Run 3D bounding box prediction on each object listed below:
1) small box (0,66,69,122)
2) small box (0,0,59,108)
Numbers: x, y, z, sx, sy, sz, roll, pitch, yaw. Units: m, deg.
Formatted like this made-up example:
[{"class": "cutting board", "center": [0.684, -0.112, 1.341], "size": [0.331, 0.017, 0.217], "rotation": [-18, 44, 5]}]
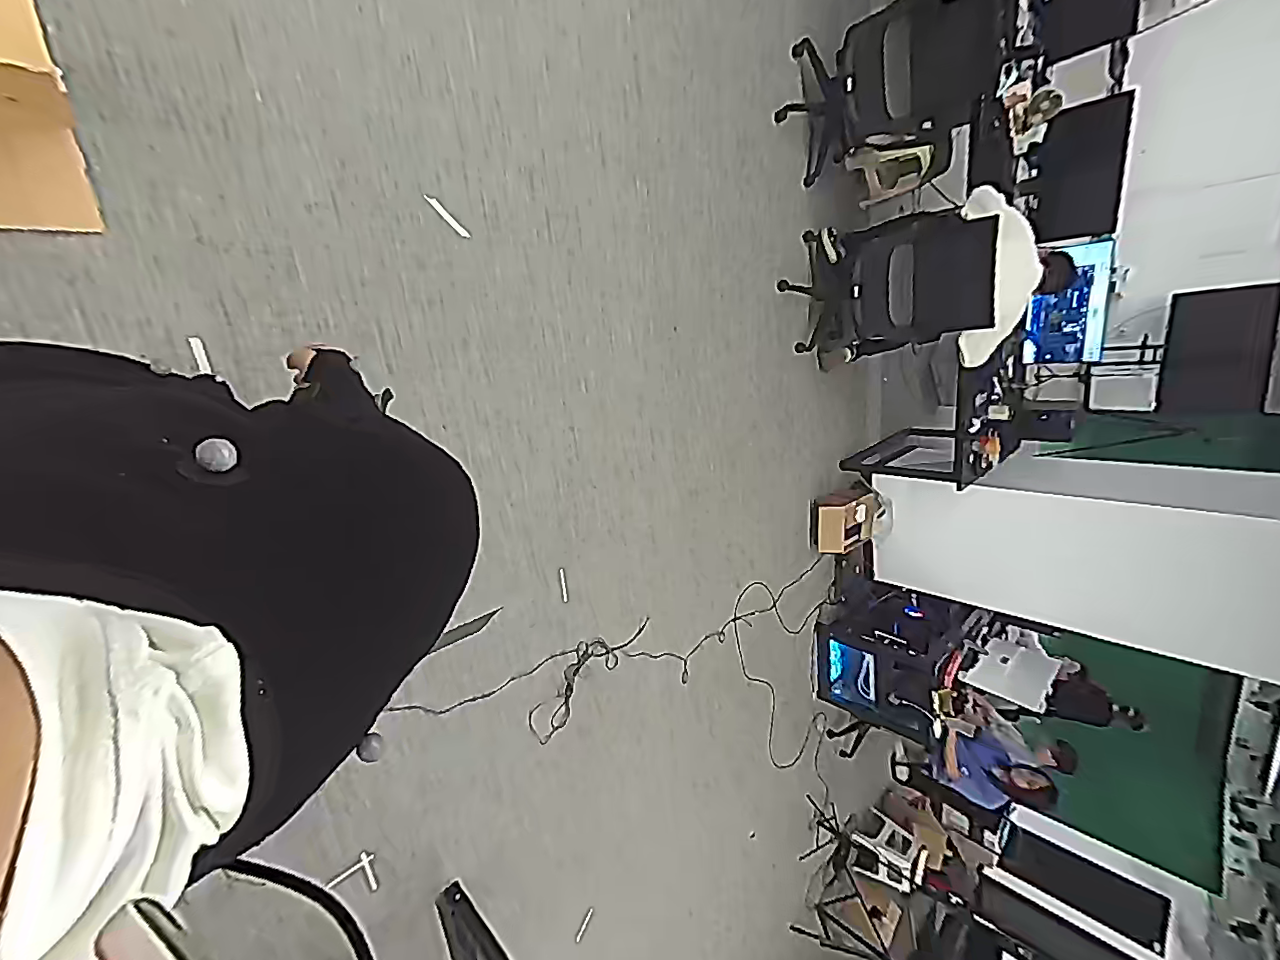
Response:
[{"class": "small box", "center": [-1.161, -0.747, 0.946], "size": [0.179, 0.176, 0.168], "rotation": [-30, 117, -37]}, {"class": "small box", "center": [-1.045, -0.717, 0.835], "size": [0.168, 0.176, 0.179], "rotation": [-18, 110, -41]}]
